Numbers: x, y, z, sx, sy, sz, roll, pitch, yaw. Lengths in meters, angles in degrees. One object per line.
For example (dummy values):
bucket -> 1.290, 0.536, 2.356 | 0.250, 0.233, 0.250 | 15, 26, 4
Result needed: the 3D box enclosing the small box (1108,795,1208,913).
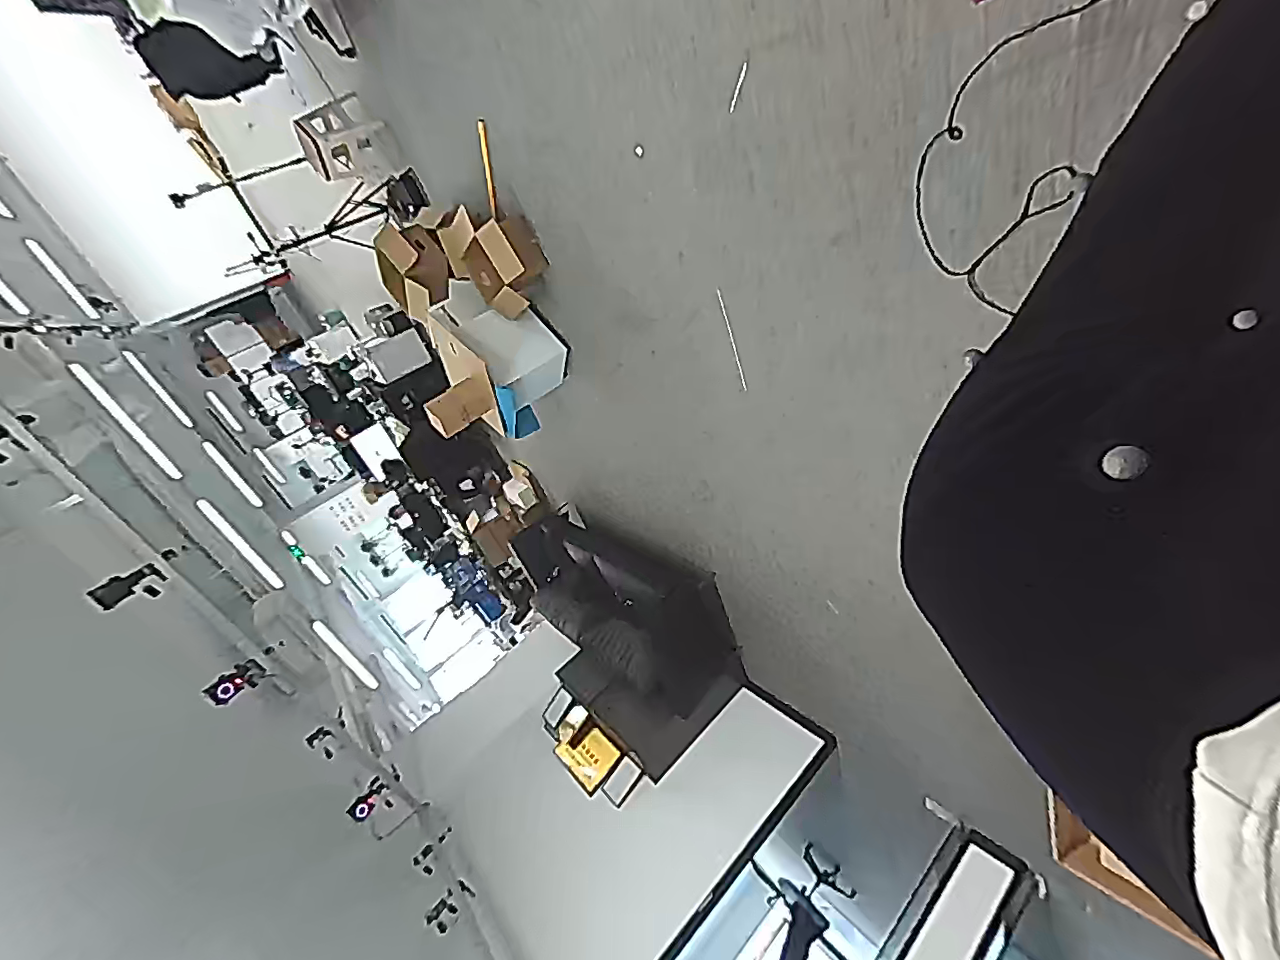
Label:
small box -> 1.433, 1.027, 1.497 | 0.168, 0.176, 0.179 | 15, 138, 51
